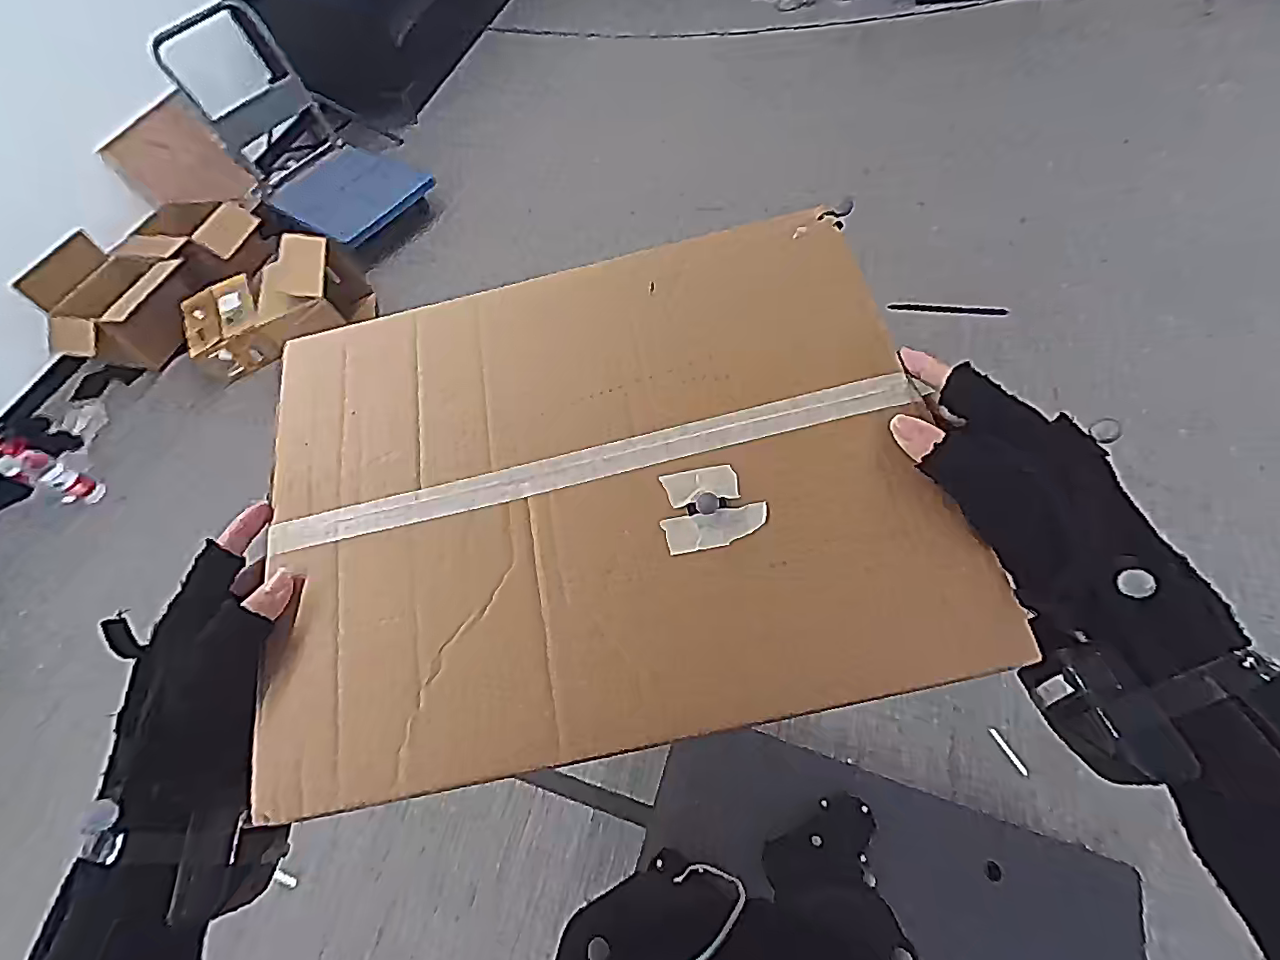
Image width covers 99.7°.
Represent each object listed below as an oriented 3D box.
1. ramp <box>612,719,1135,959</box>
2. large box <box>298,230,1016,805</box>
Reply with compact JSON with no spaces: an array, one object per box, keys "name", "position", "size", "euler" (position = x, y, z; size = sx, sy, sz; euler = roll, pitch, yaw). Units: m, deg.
[{"name":"ramp","position":[0.486,0.878,1.110],"size":[0.991,0.206,0.509],"euler":[11,62,16]},{"name":"large box","position":[-0.006,0.052,0.482],"size":[0.408,0.320,0.320],"euler":[-13,68,2]}]
